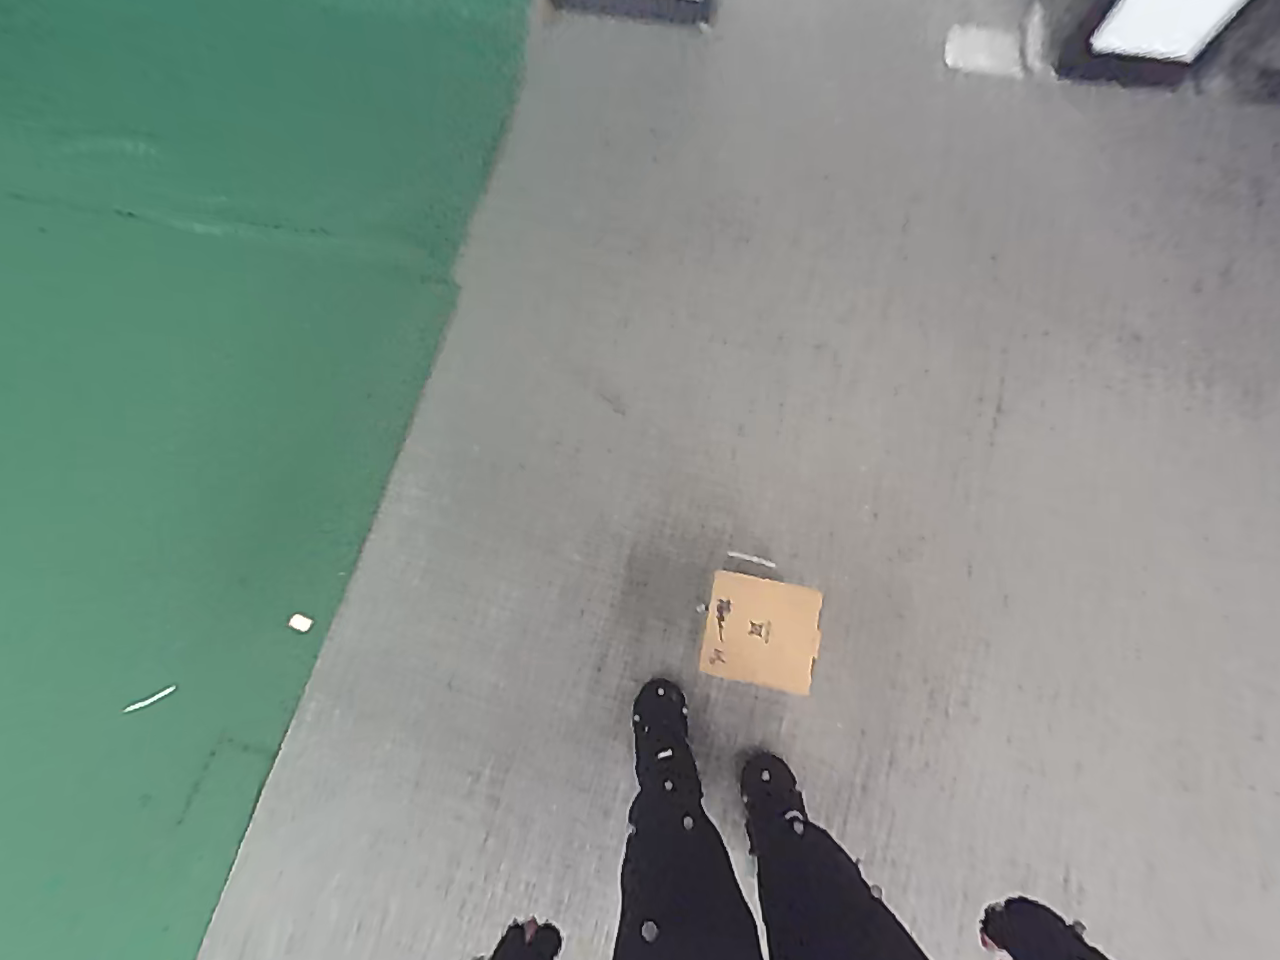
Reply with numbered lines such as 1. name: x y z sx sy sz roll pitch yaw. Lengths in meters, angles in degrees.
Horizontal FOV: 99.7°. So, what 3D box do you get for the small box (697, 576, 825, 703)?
1. small box: 0.201 0.268 0.937 0.179 0.176 0.168 12 78 7
